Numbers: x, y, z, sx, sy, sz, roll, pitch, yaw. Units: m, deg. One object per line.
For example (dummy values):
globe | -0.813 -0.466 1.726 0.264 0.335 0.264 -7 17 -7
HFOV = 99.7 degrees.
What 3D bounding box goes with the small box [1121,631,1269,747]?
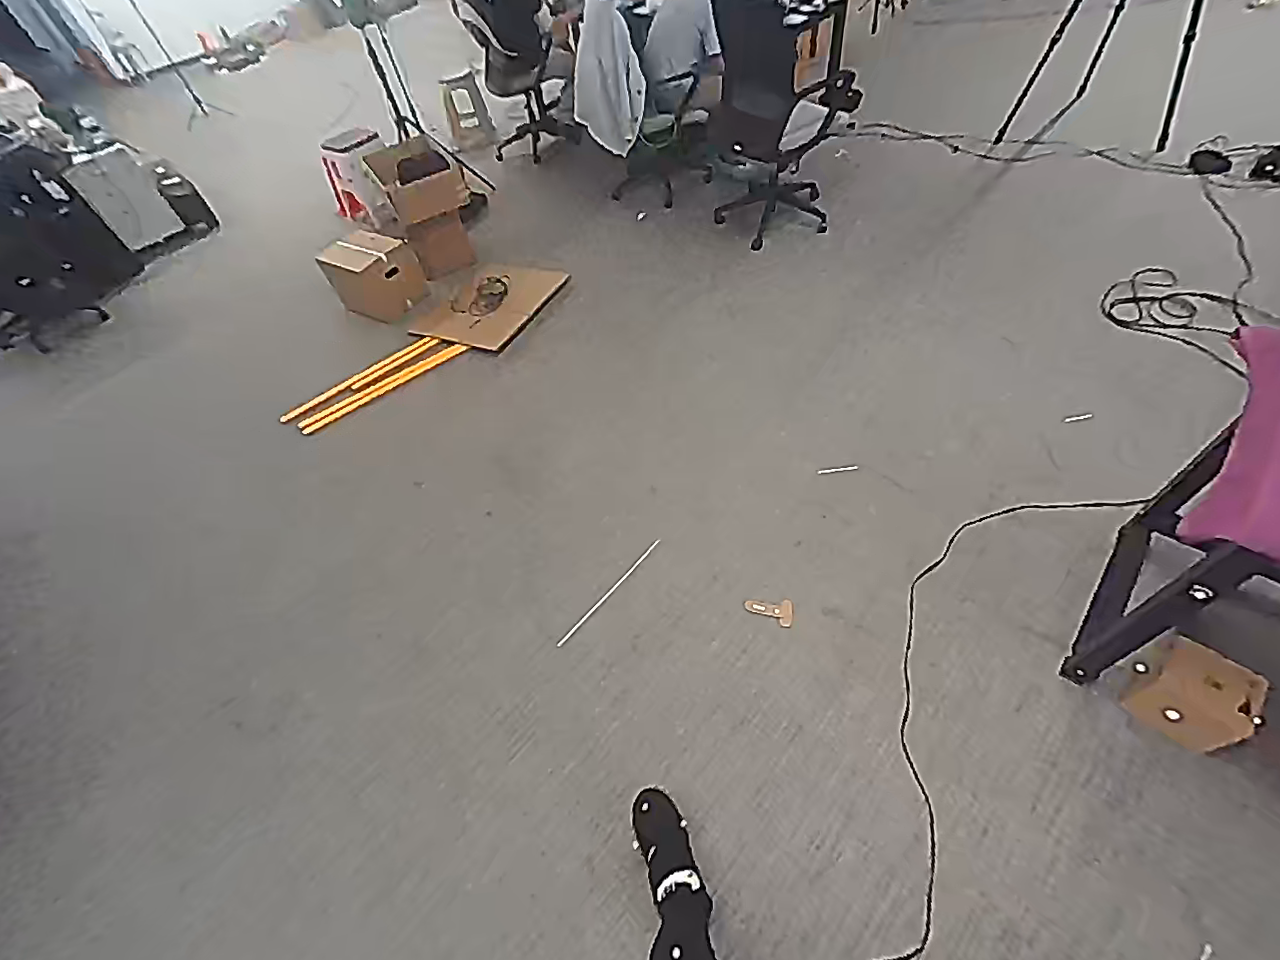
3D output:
small box | 1.319 0.505 1.298 0.179 0.176 0.168 34 64 31
